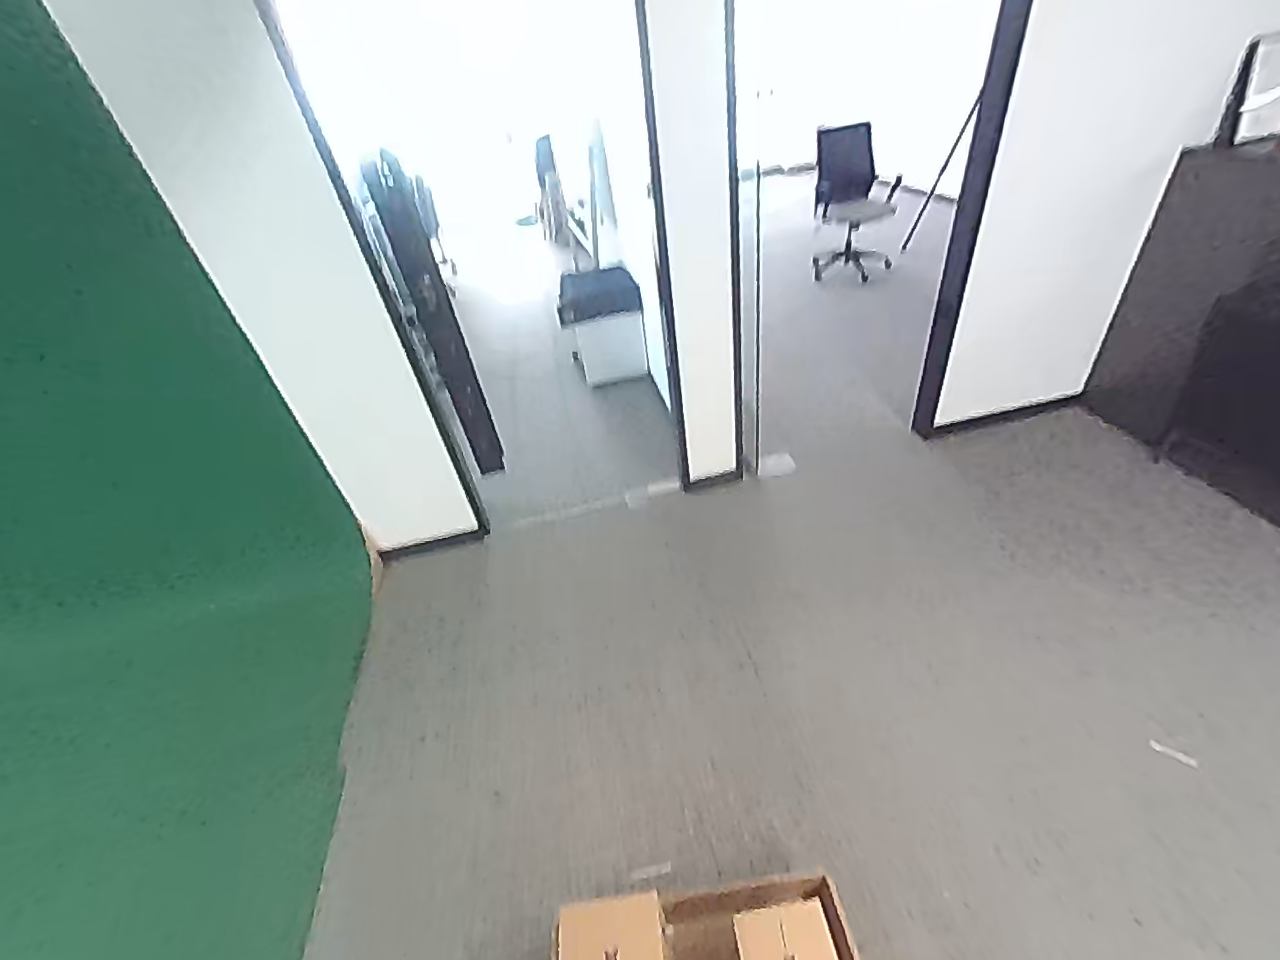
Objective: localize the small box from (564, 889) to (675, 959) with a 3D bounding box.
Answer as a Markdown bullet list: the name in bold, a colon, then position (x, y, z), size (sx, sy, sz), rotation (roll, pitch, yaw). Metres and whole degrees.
- **small box**: position (-0.028, 0.808, 0.878), size (0.168, 0.176, 0.179), rotation (-9, 36, 0)

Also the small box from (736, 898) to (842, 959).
- **small box**: position (0.277, 0.892, 0.968), size (0.168, 0.176, 0.179), rotation (-11, 36, 1)
